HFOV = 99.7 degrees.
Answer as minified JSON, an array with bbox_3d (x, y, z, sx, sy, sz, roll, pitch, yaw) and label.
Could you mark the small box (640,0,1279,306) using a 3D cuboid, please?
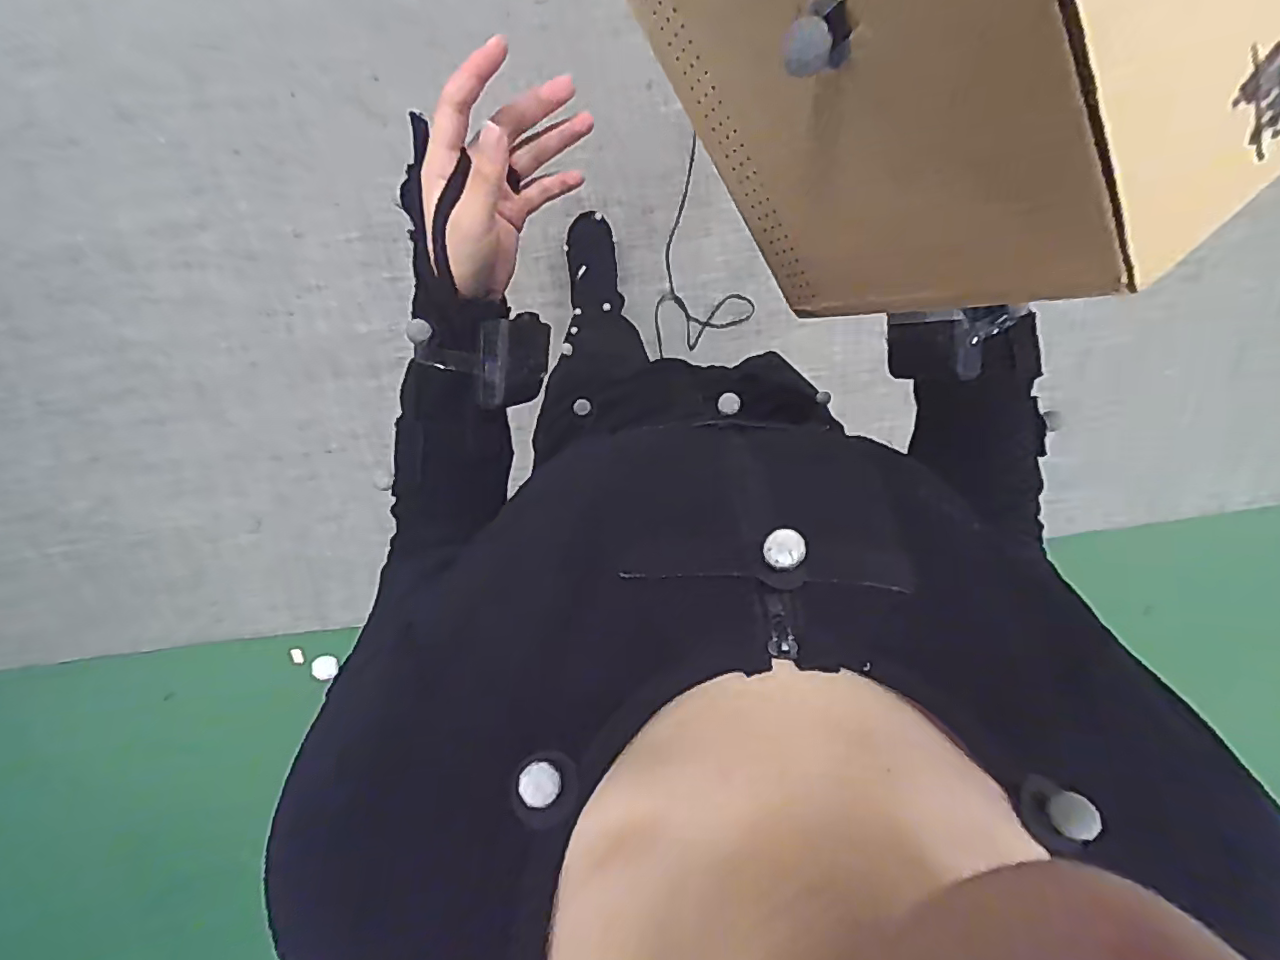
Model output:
[{"bbox_3d":[0.124,-0.188,0.206,0.168,0.176,0.179,-40,110,-4],"label":"small box"}]
